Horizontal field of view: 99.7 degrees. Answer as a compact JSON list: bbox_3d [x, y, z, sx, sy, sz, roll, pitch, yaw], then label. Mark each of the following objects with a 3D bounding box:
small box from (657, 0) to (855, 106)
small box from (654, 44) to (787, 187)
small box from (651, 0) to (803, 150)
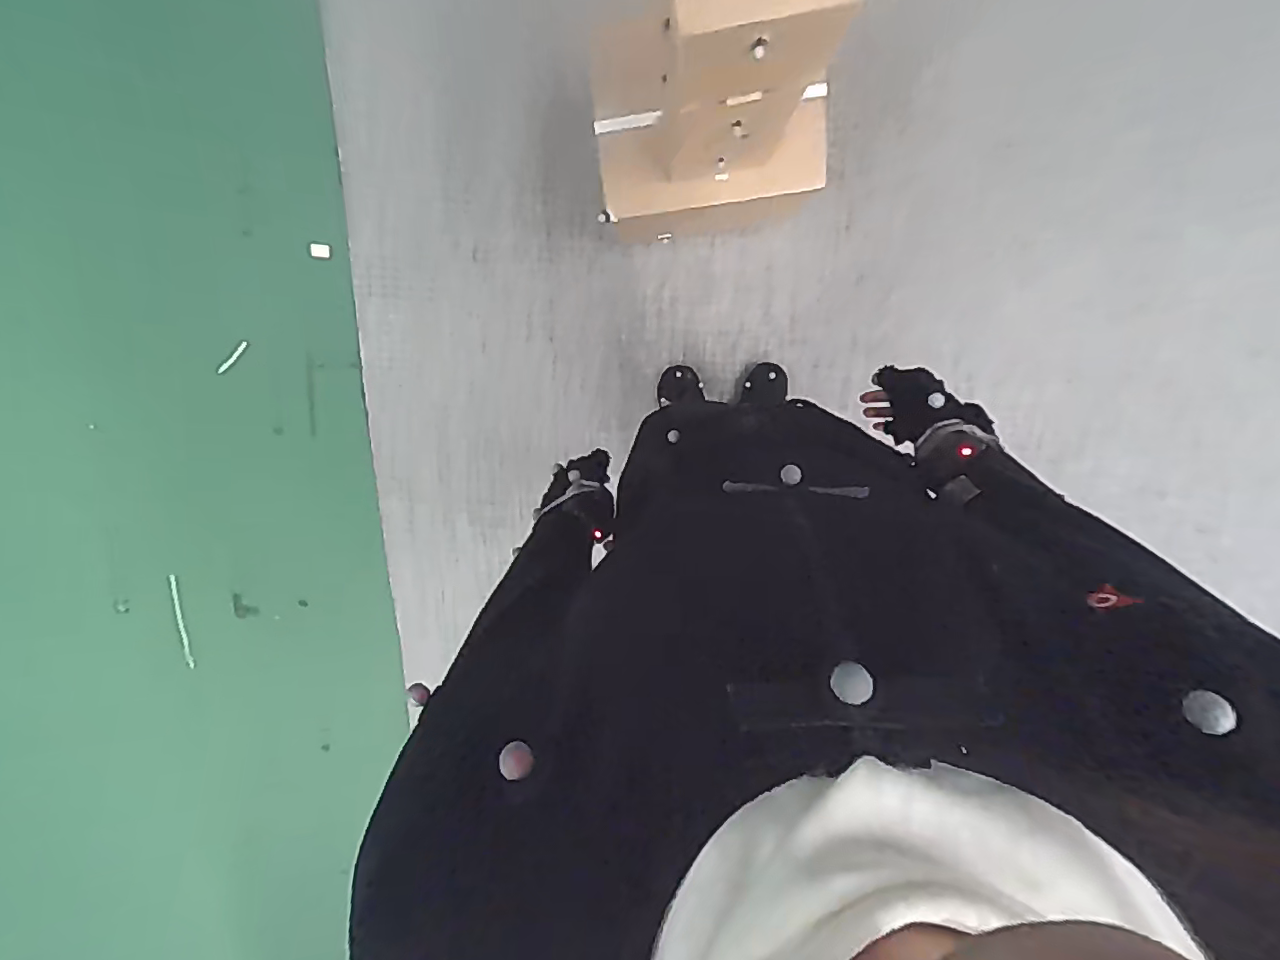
[{"bbox_3d":[0.106,-0.520,0.558,0.179,0.176,0.168,-8,105,4],"label":"small box"},{"bbox_3d":[0.122,-0.599,0.874,0.179,0.176,0.168,-11,104,5],"label":"small box"},{"bbox_3d":[0.109,-0.563,0.716,0.168,0.176,0.179,-9,105,5],"label":"small box"}]
